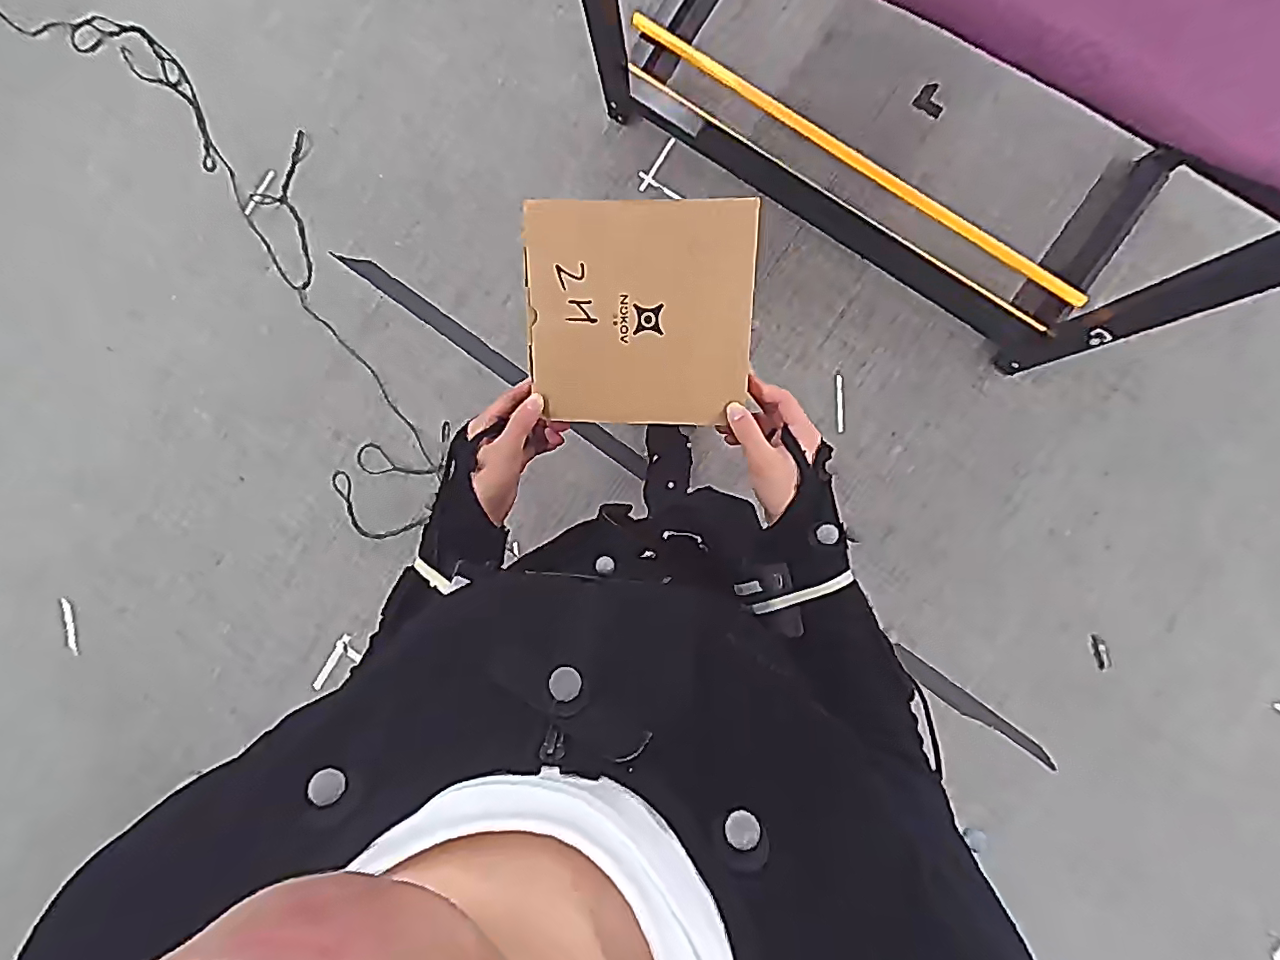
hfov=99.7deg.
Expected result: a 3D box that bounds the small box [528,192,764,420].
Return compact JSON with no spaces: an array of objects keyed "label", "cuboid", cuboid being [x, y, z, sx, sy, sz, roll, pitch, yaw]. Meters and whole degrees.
[{"label":"small box","cuboid":[0.008,-0.154,0.492,0.179,0.176,0.168,3,107,5]}]
